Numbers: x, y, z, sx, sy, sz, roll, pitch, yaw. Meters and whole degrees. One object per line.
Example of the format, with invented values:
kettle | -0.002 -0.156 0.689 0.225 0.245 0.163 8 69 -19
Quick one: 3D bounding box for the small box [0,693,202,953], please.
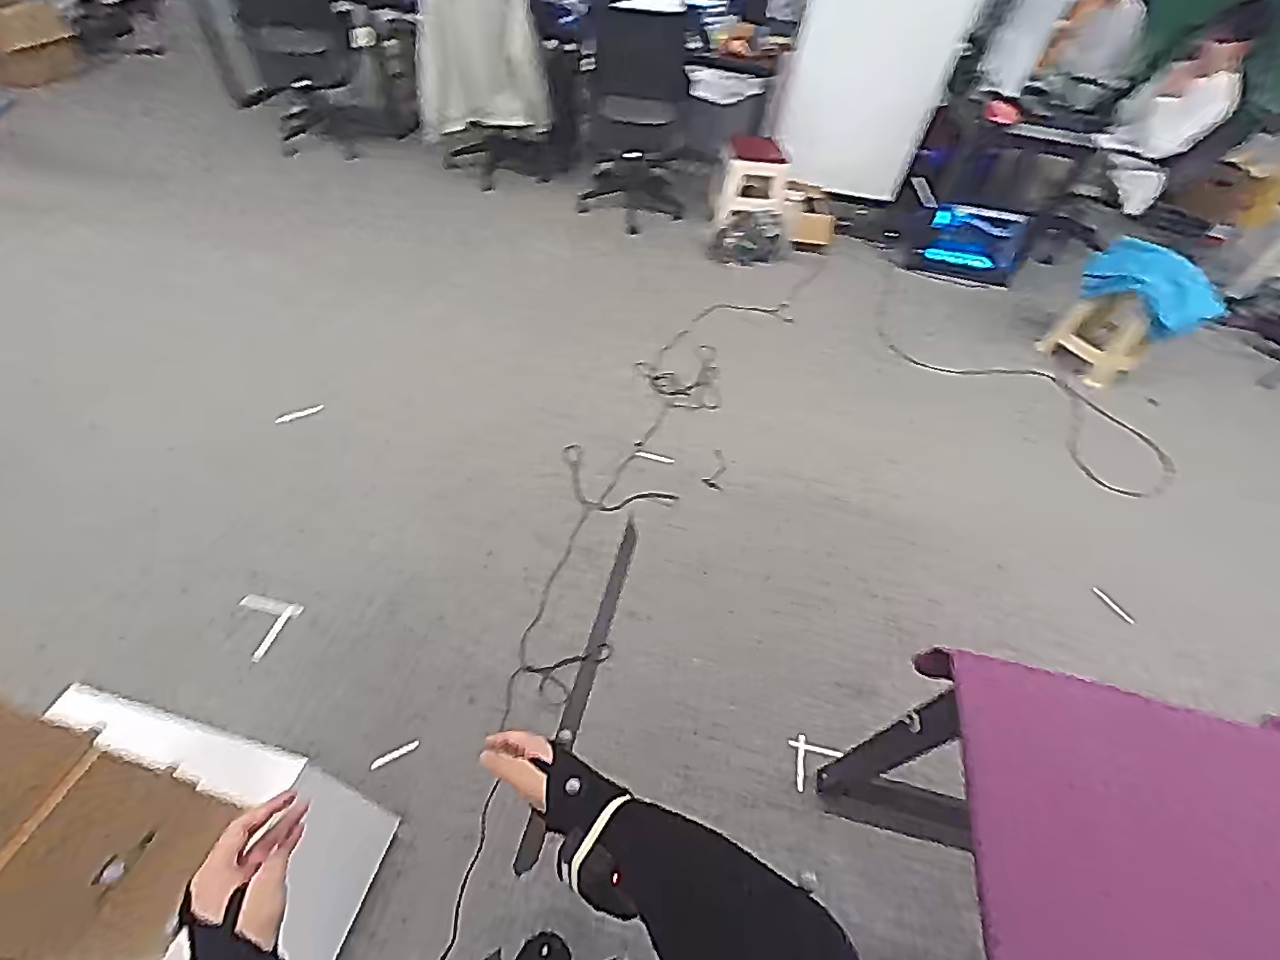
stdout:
small box | -0.593 0.327 0.519 0.179 0.176 0.168 16 52 6
